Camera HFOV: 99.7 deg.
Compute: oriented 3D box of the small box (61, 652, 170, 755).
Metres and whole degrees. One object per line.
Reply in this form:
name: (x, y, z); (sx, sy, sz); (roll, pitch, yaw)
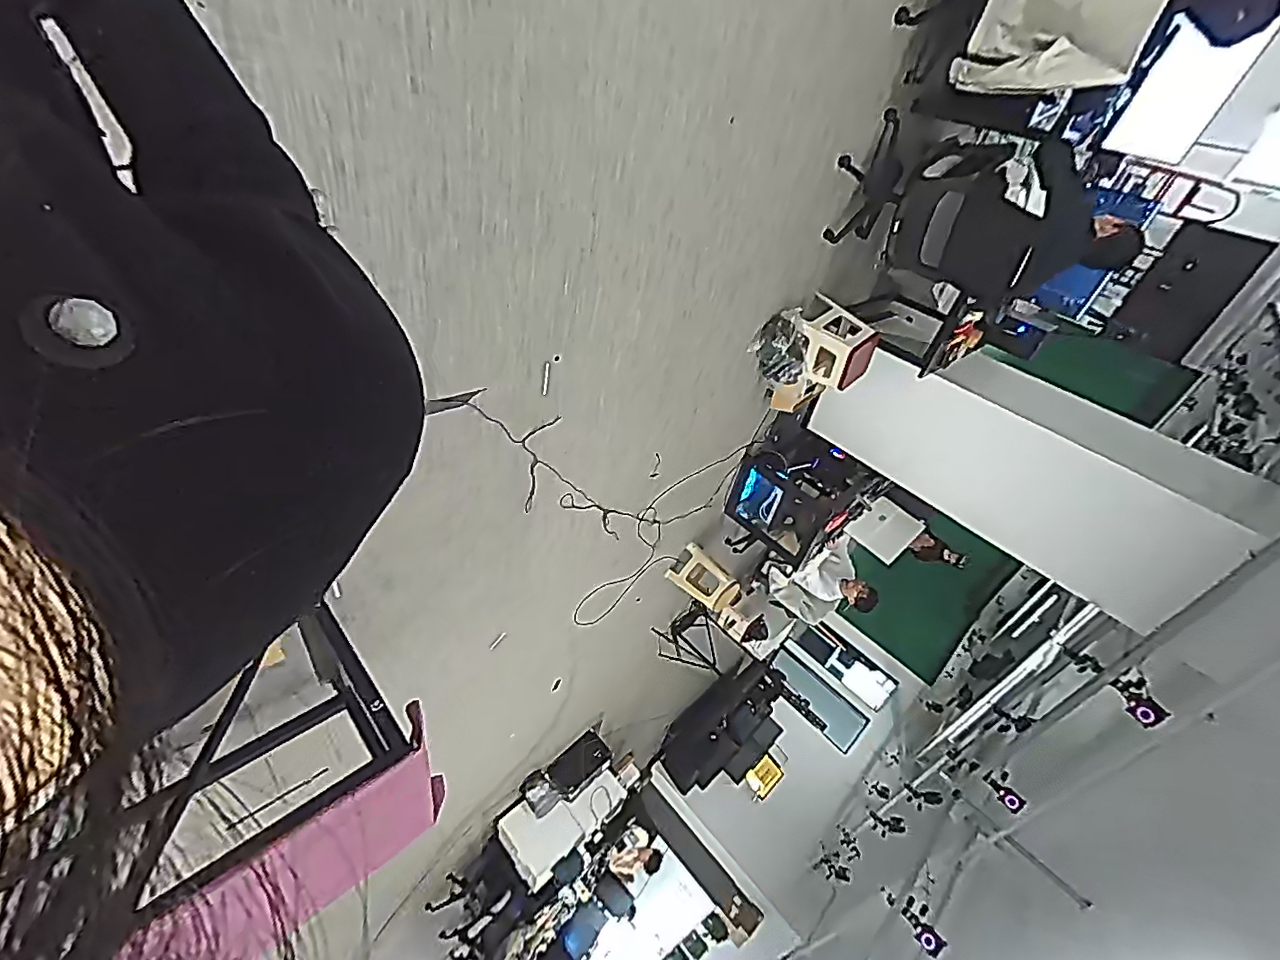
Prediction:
small box: (-1.473, 0.623, 1.521); (0.168, 0.176, 0.179); (-26, 142, -38)
